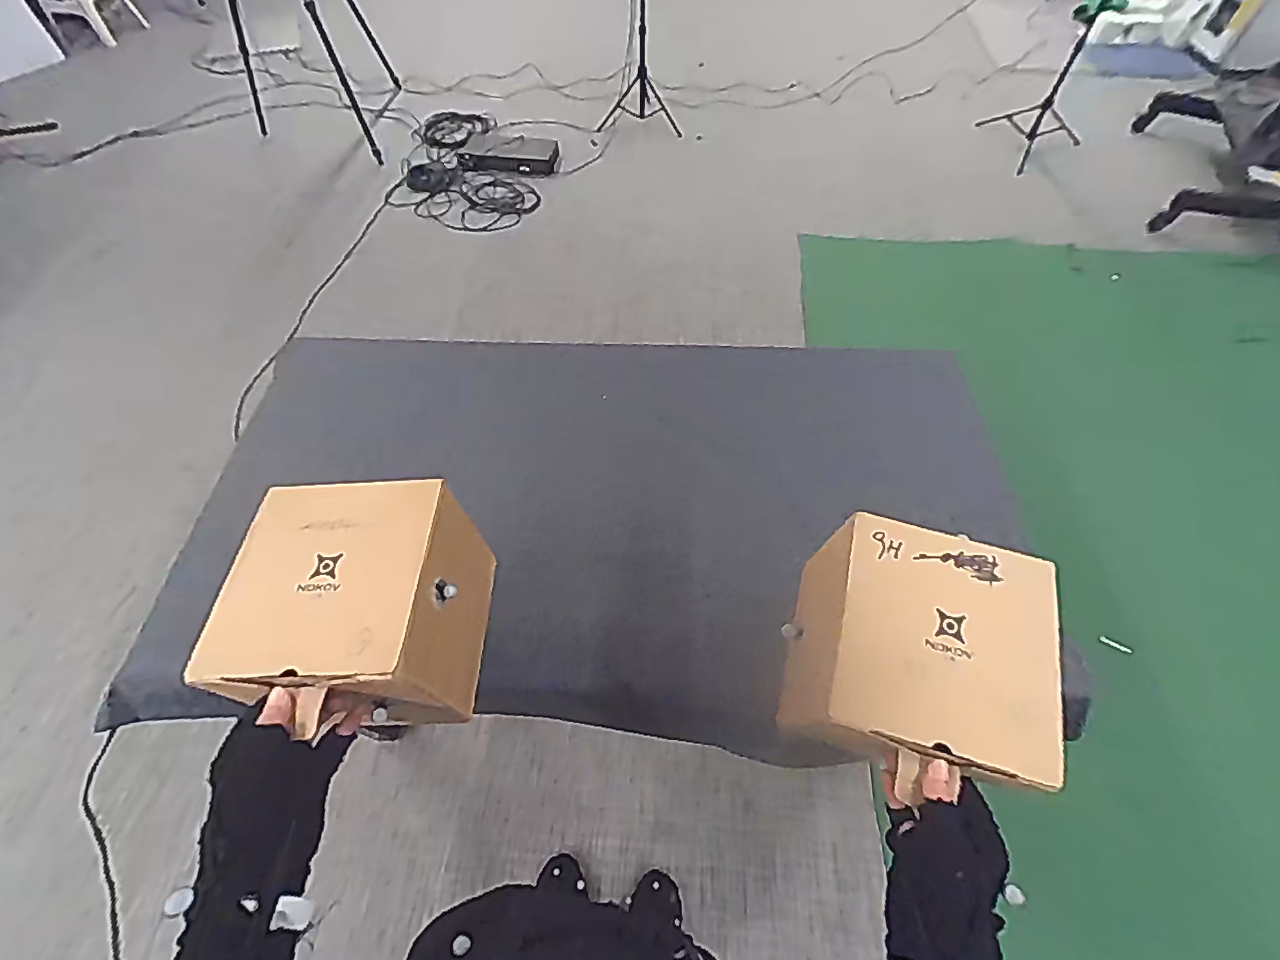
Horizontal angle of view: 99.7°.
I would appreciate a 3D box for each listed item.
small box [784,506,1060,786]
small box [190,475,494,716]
[{"bbox_3d":[0.240,0.150,0.493,0.168,0.176,0.179,15,67,7],"label":"small box"},{"bbox_3d":[-0.247,0.116,0.507,0.168,0.176,0.179,-3,55,3],"label":"small box"}]
